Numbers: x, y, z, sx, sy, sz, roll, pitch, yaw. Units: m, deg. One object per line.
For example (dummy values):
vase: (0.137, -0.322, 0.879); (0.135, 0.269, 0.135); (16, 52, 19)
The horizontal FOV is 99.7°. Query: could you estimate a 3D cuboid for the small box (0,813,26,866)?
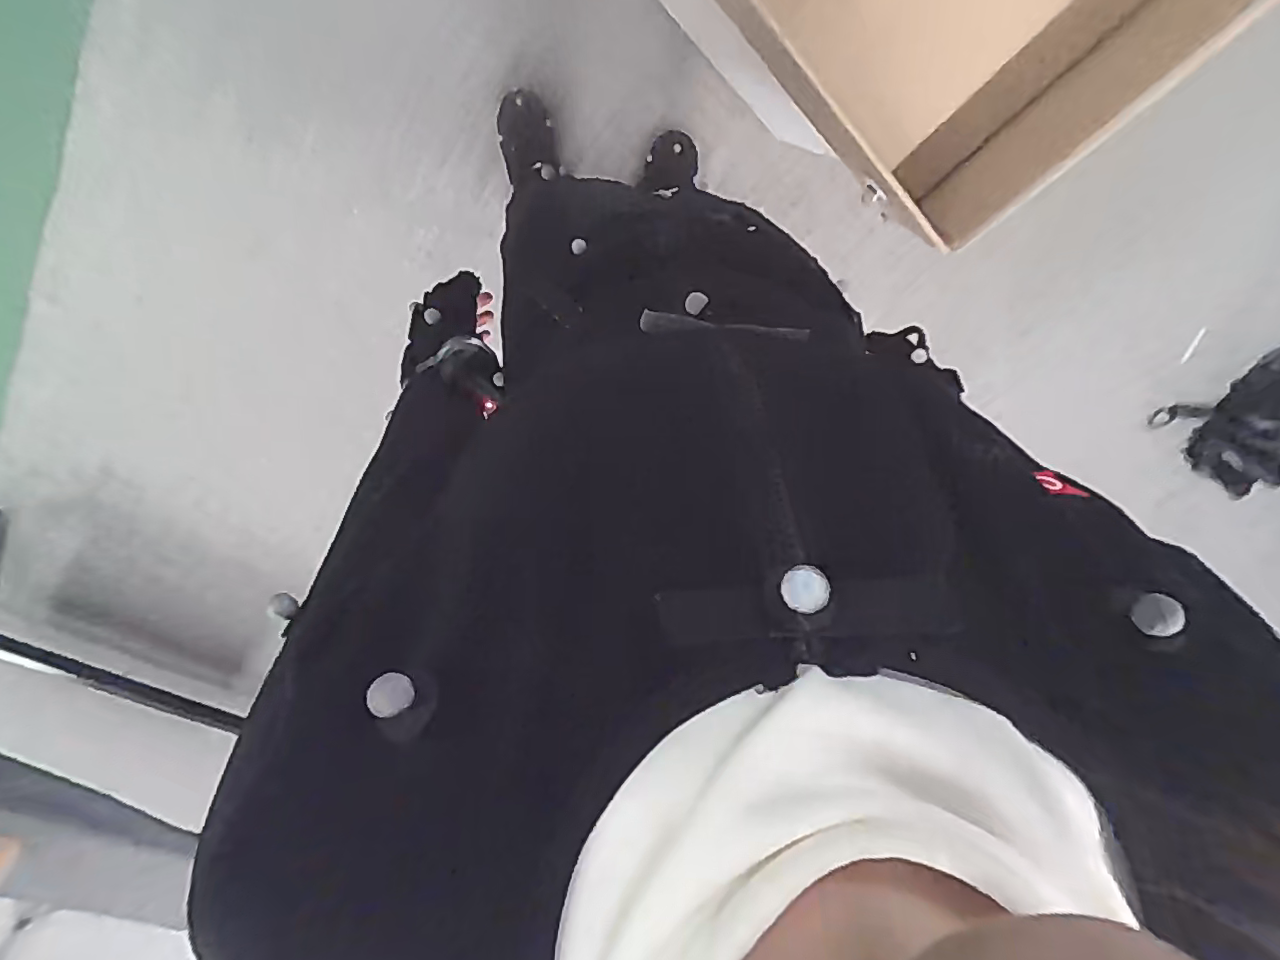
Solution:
small box: (-1.664, 0.919, 1.311); (0.168, 0.176, 0.179); (31, 120, -23)
